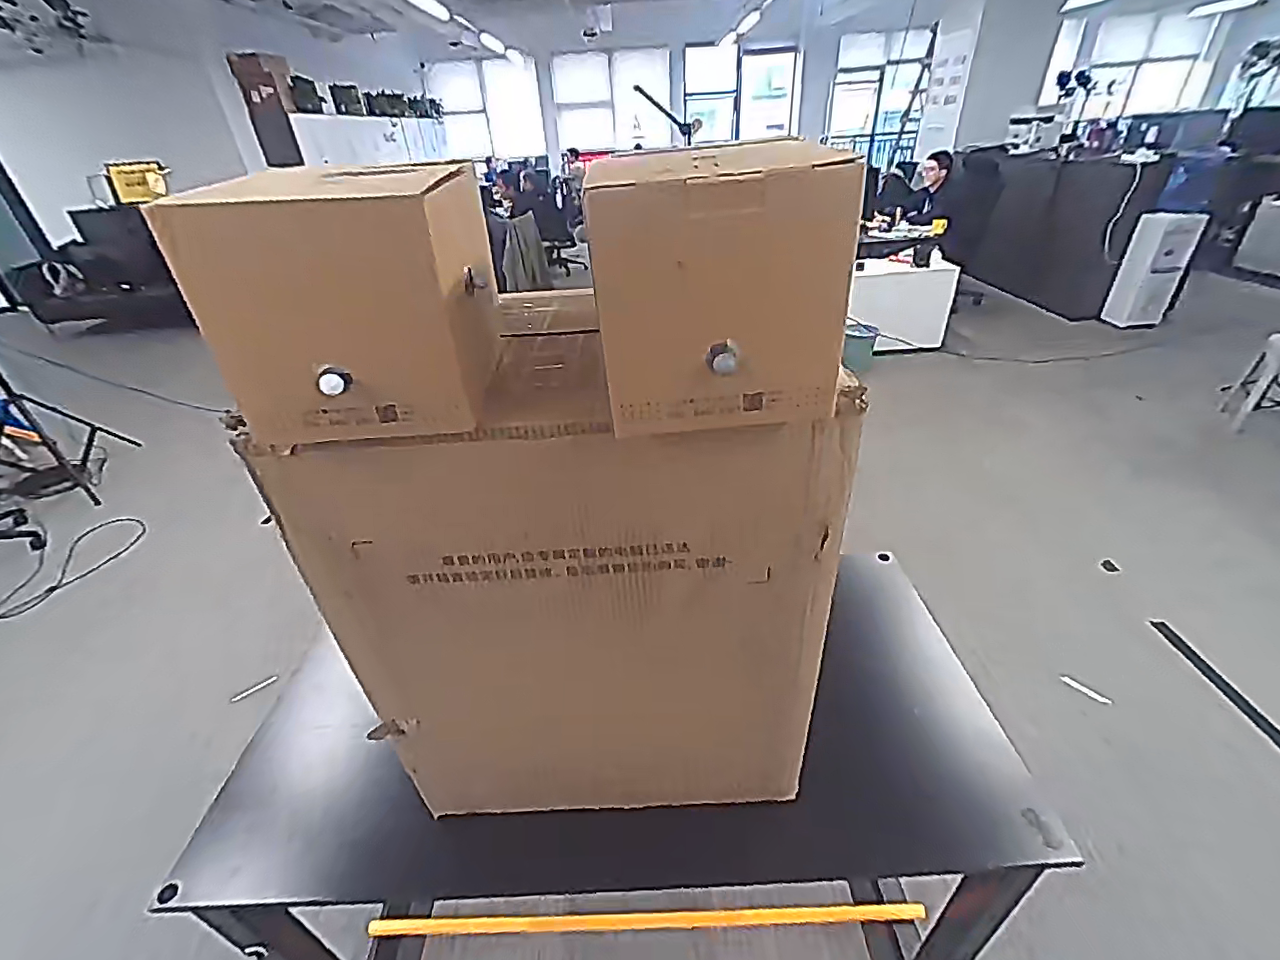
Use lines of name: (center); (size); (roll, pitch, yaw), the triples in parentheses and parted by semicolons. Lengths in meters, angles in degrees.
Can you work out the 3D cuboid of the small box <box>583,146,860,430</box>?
small box: (0.052, -0.155, 0.428); (0.168, 0.176, 0.179); (-5, 35, 2)
